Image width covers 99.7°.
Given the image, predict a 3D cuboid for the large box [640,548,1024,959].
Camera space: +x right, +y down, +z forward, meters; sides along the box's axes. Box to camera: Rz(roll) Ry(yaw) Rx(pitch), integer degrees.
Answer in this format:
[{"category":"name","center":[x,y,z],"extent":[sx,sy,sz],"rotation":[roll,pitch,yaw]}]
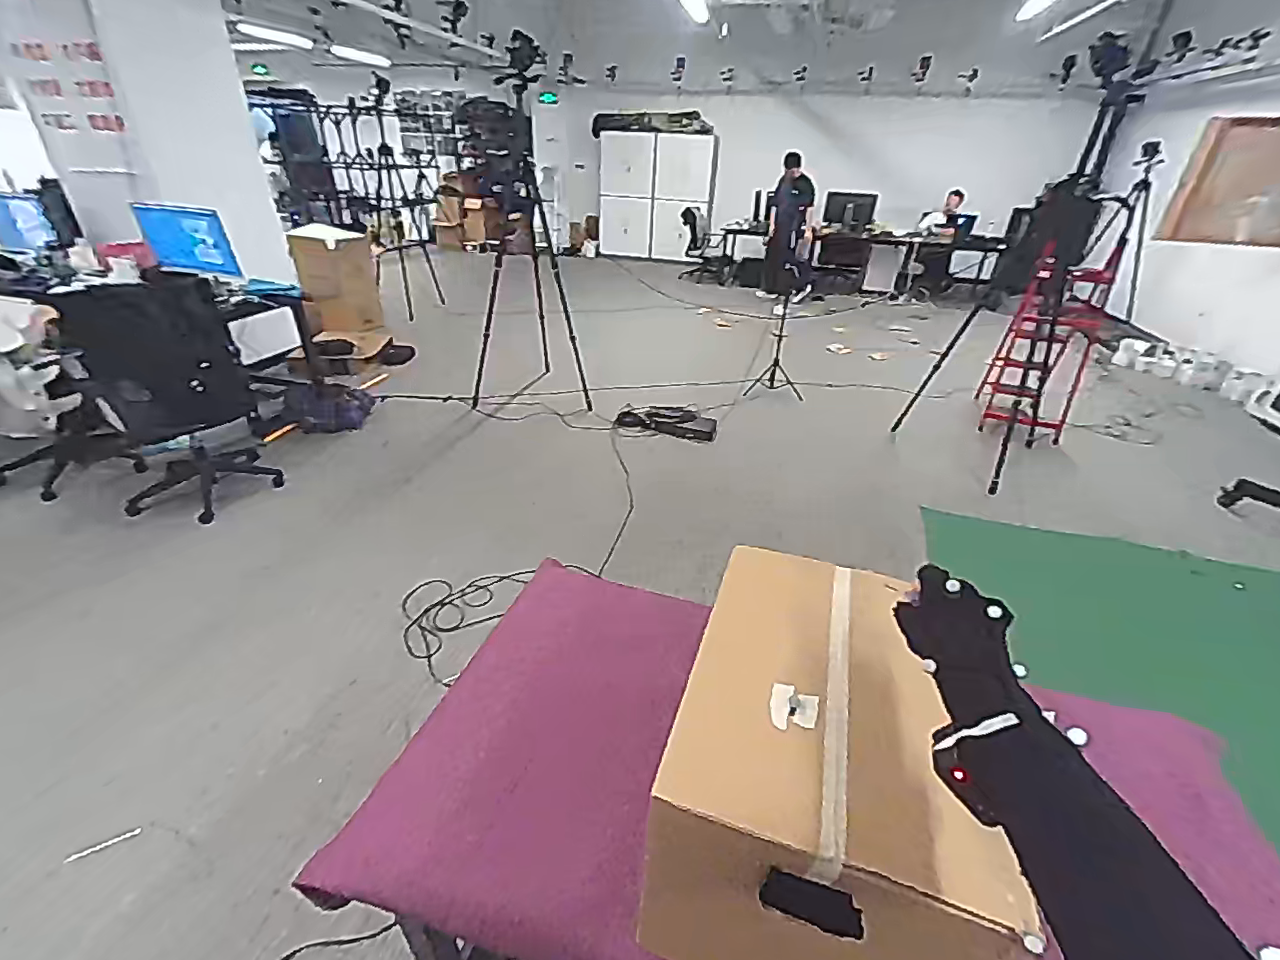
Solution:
[{"category":"large box","center":[0.212,0.355,0.697],"extent":[0.320,0.320,0.408],"rotation":[12,32,16]}]
